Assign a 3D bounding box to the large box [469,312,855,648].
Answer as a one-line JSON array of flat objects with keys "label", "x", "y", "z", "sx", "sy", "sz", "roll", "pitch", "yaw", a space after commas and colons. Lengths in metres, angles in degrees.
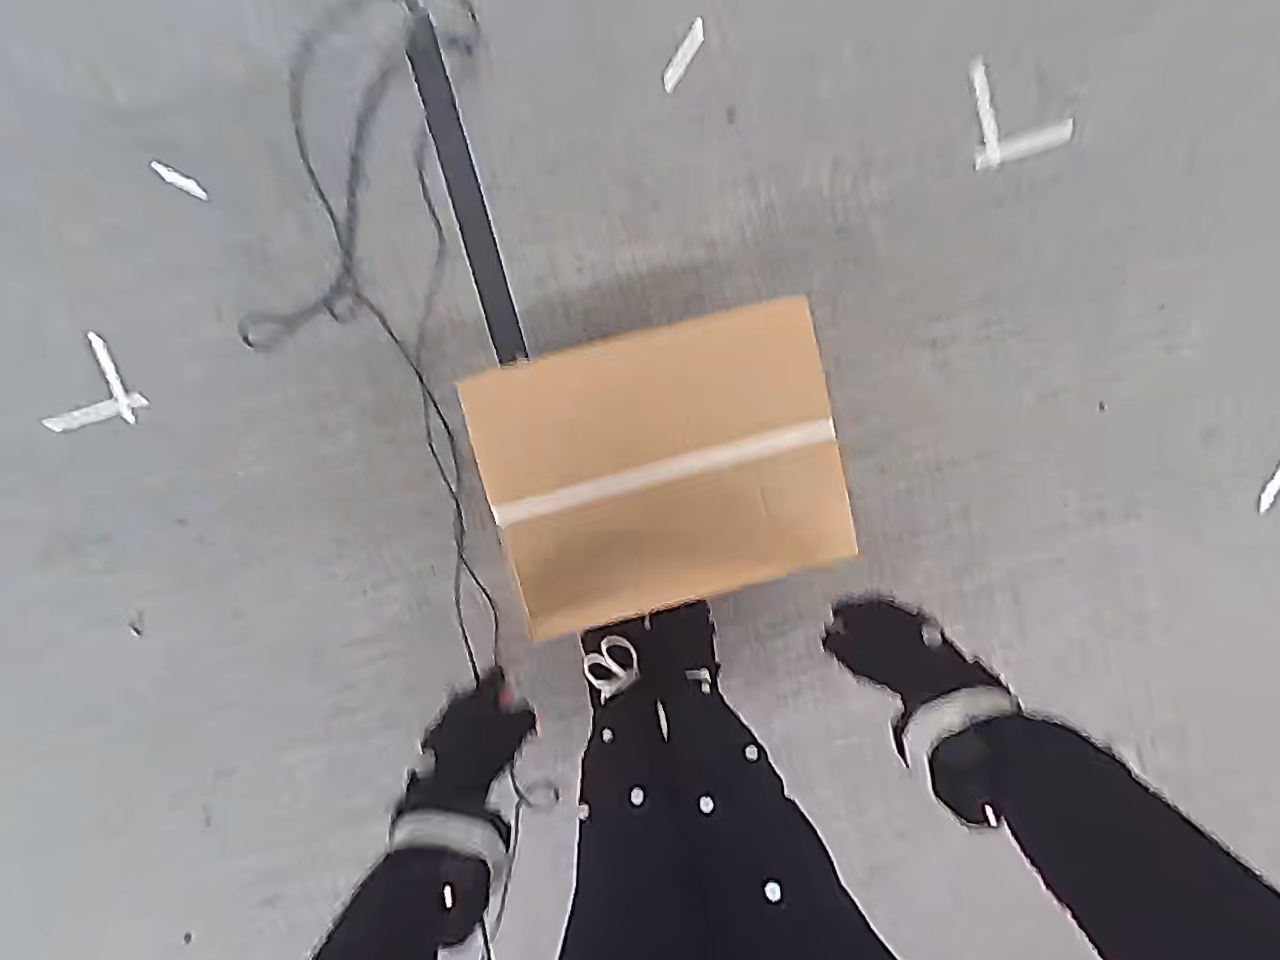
[{"label": "large box", "x": 0.023, "y": -0.010, "z": 0.780, "sx": 0.408, "sy": 0.320, "sz": 0.320, "roll": -15, "pitch": 97, "yaw": -2}]
